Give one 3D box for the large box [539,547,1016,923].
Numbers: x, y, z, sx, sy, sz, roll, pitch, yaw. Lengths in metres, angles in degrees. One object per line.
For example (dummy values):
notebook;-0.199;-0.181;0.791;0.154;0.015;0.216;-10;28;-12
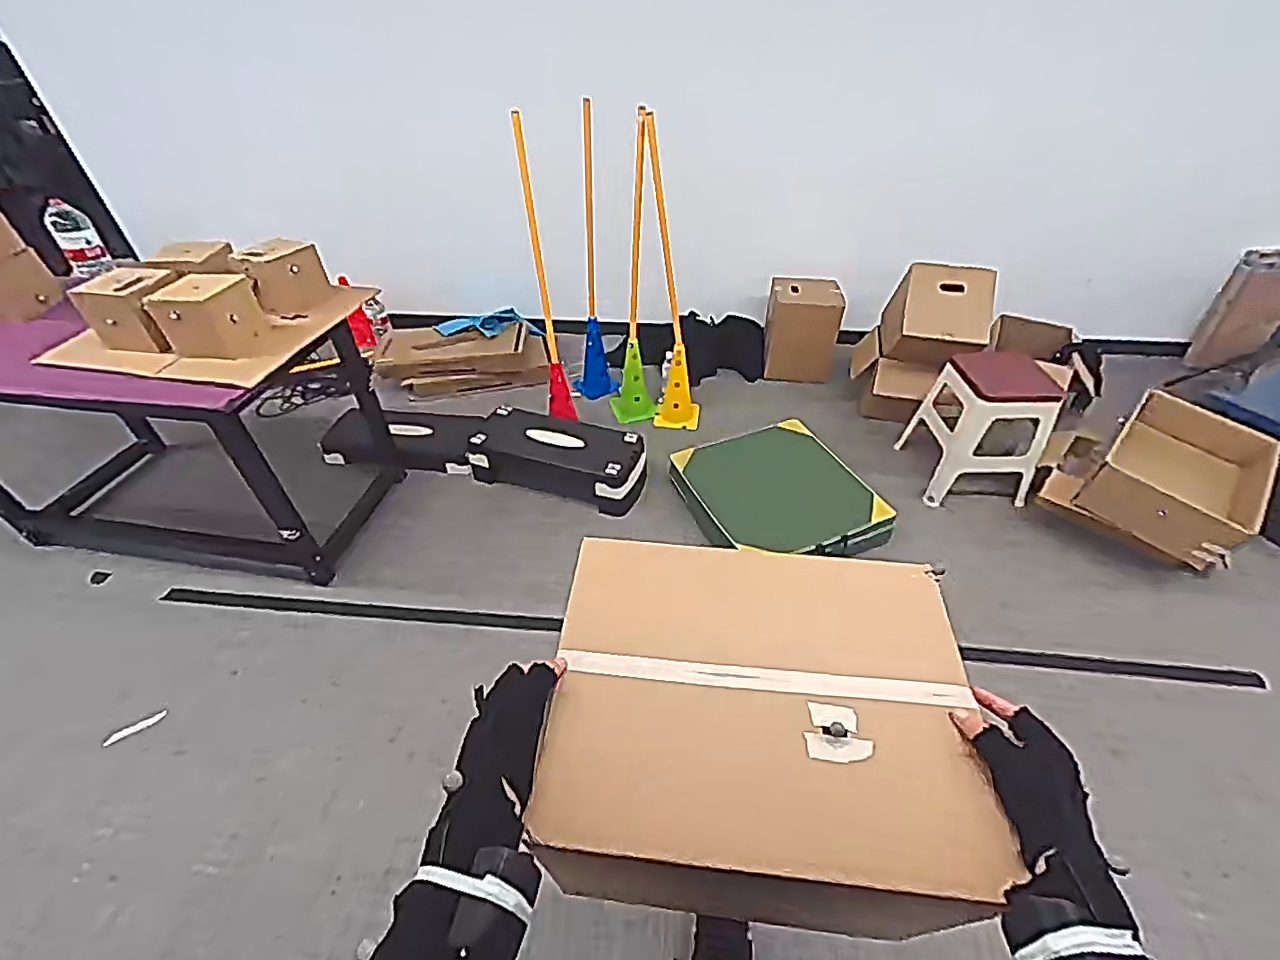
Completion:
large box;0.122;0.306;0.656;0.408;0.320;0.320;4;47;5
